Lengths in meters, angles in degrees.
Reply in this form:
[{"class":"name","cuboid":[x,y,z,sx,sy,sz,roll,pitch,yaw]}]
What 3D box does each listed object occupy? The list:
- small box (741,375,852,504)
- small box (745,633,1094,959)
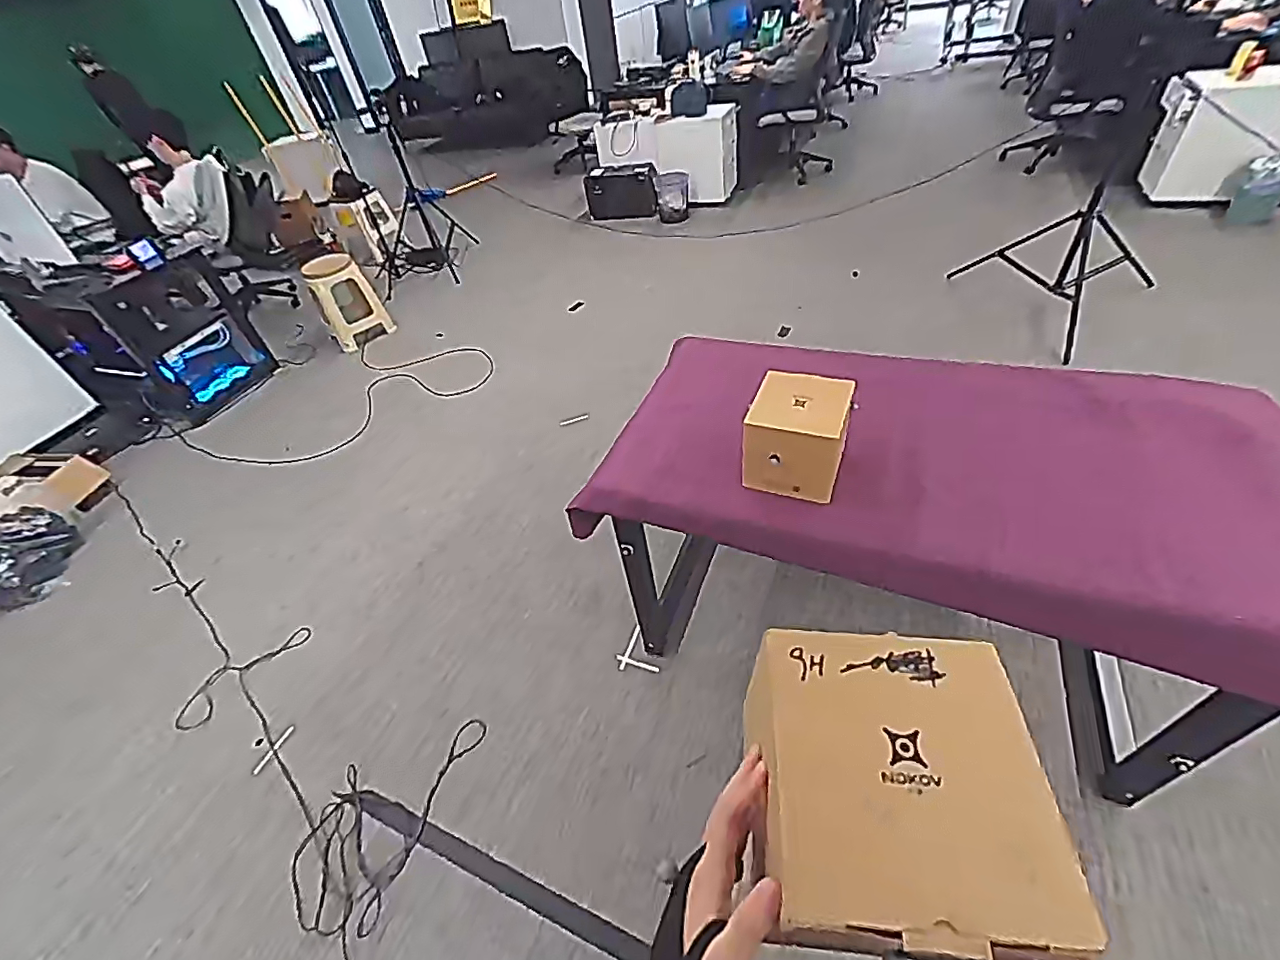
[{"class":"small box","cuboid":[0.300,-0.077,1.044,0.168,0.176,0.179,13,47,22]},{"class":"small box","cuboid":[0.172,0.237,0.407,0.168,0.176,0.179,3,48,5]}]
